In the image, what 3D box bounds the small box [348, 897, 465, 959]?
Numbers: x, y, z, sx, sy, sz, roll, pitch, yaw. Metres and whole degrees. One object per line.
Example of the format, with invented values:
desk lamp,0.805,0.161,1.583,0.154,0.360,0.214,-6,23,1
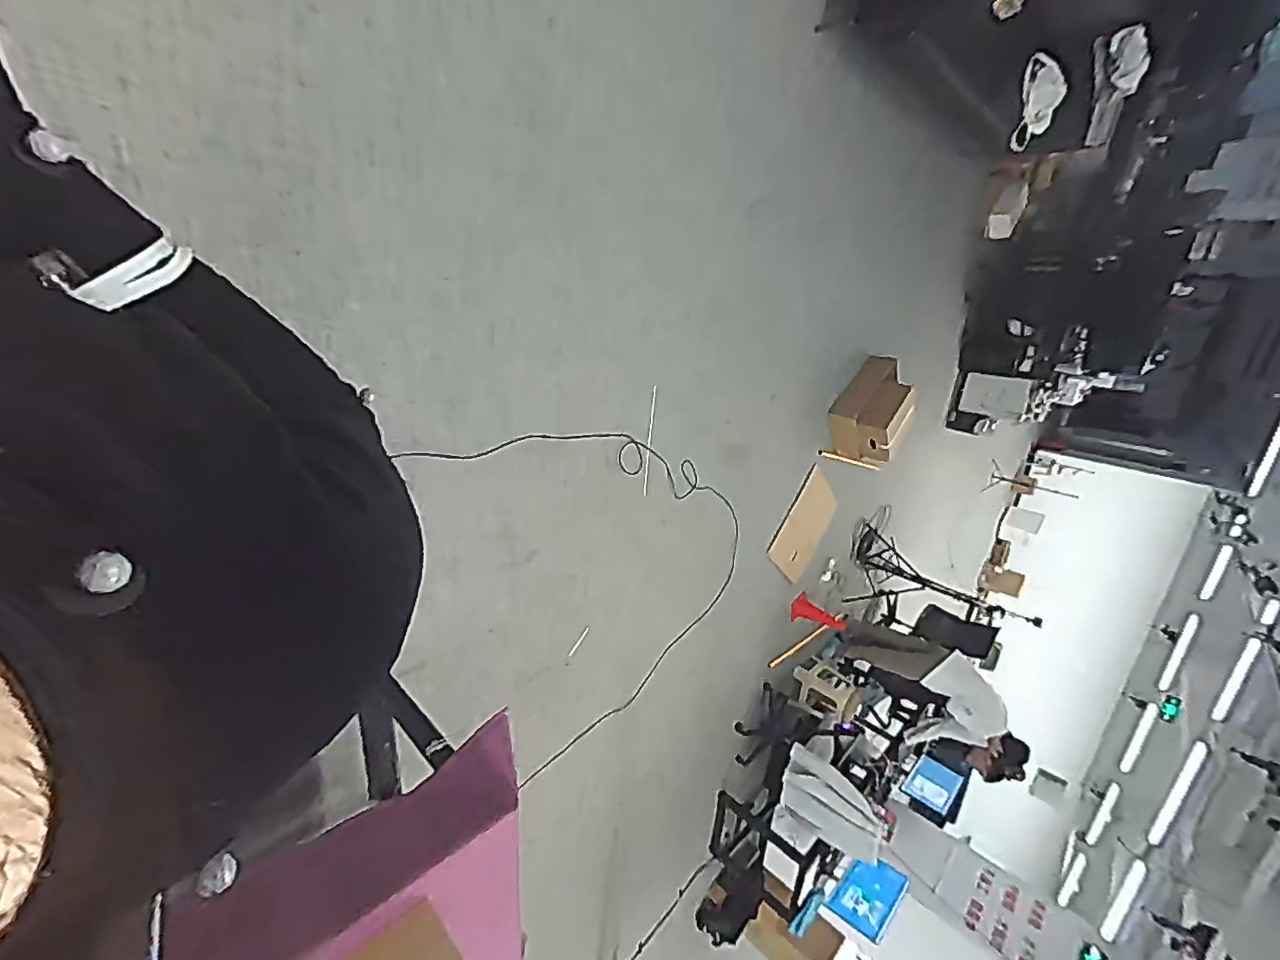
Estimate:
small box,-0.442,0.957,1.017,0.179,0.176,0.168,-16,119,-43
